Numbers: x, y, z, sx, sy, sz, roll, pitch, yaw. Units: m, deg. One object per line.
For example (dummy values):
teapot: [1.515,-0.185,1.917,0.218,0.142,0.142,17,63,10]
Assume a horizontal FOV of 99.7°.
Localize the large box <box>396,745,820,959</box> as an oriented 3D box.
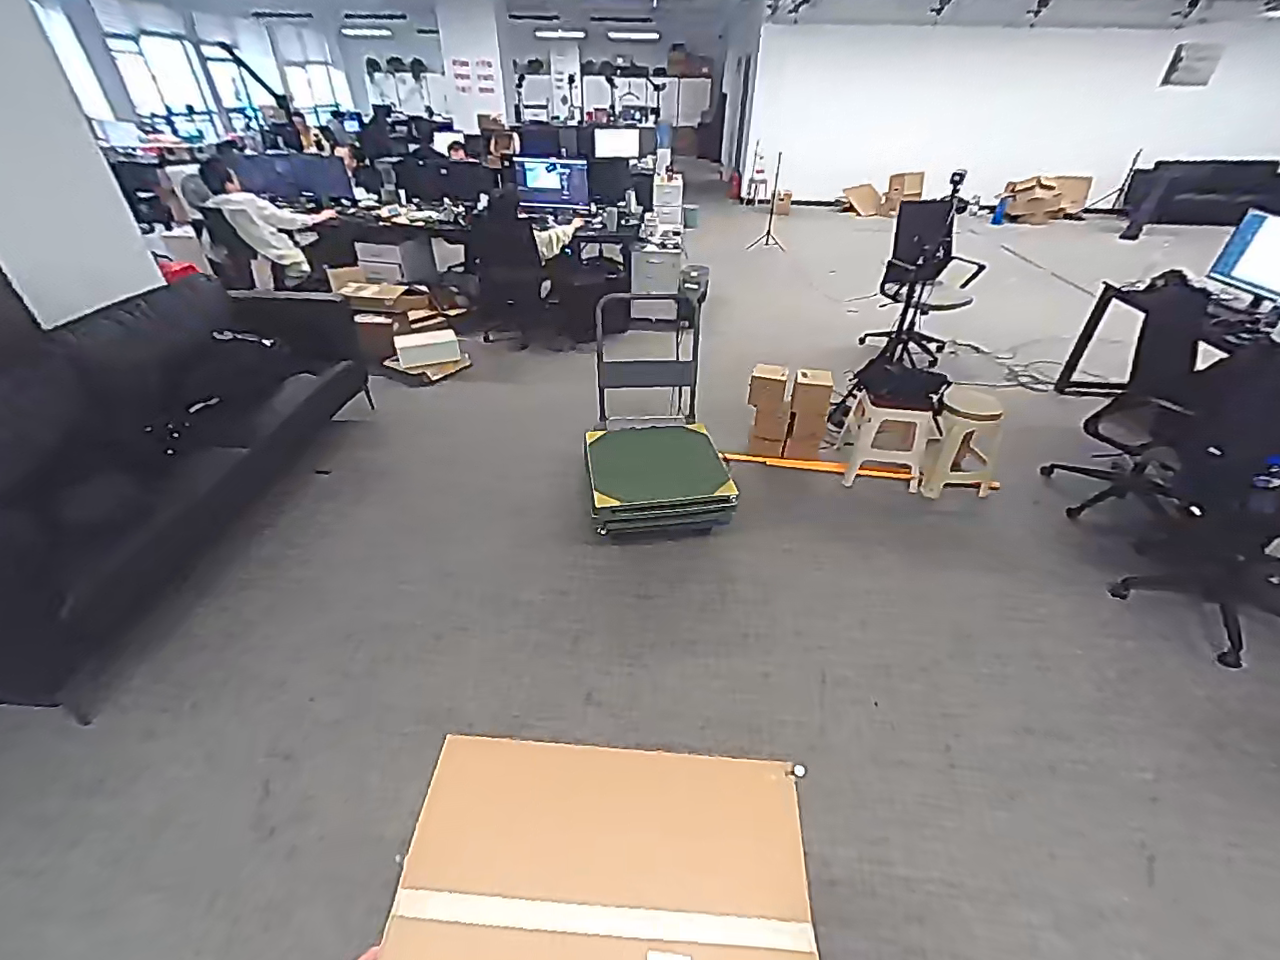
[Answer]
large box: [-0.033,0.535,0.628,0.408,0.320,0.320,4,45,1]
